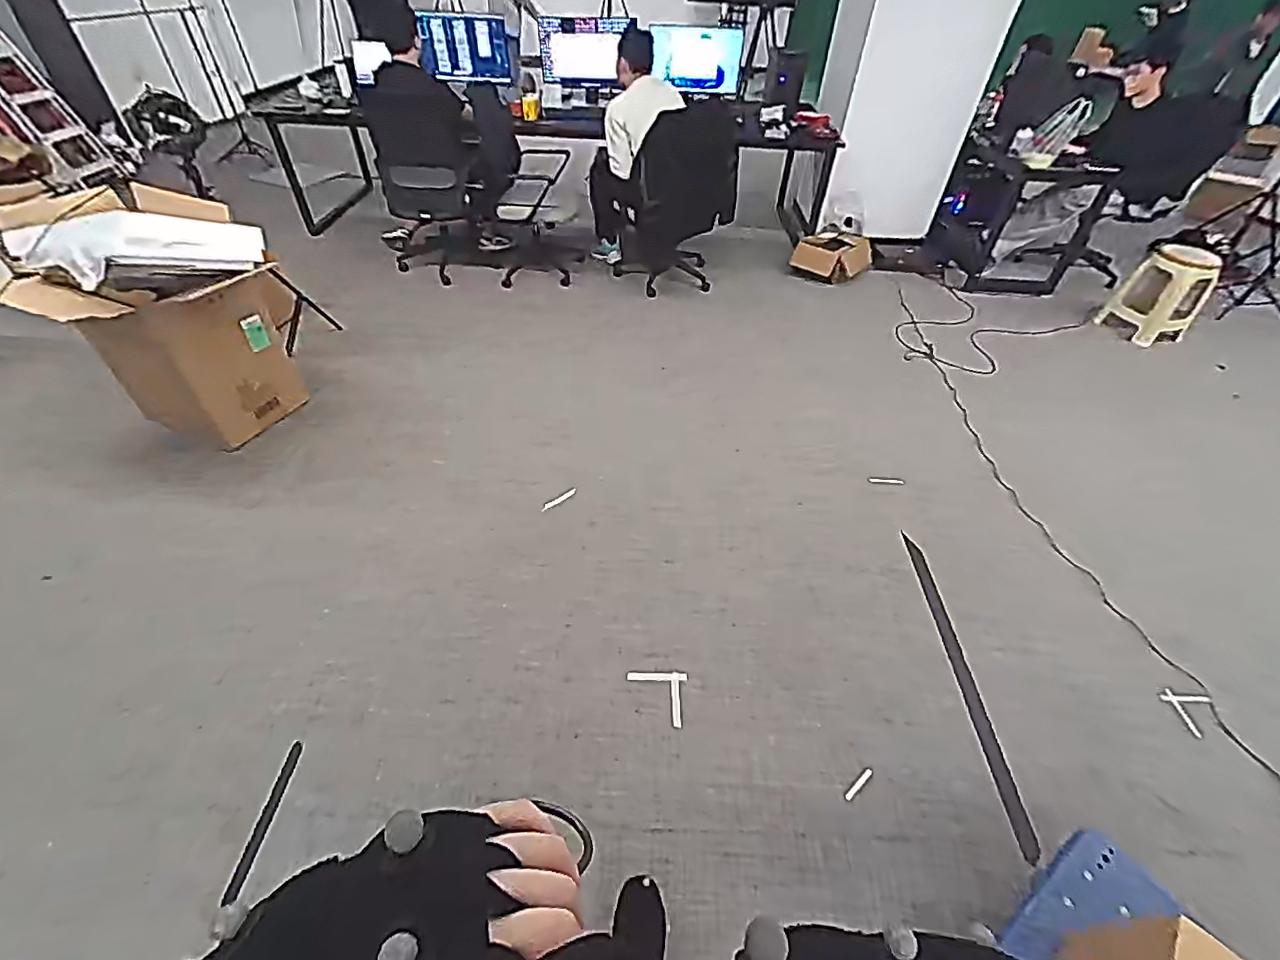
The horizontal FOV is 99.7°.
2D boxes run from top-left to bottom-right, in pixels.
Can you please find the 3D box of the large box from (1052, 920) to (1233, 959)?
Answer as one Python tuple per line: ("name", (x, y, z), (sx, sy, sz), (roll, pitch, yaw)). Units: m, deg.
("large box", (0.844, 0.945, 0.757), (0.408, 0.320, 0.320), (36, 54, 28))
